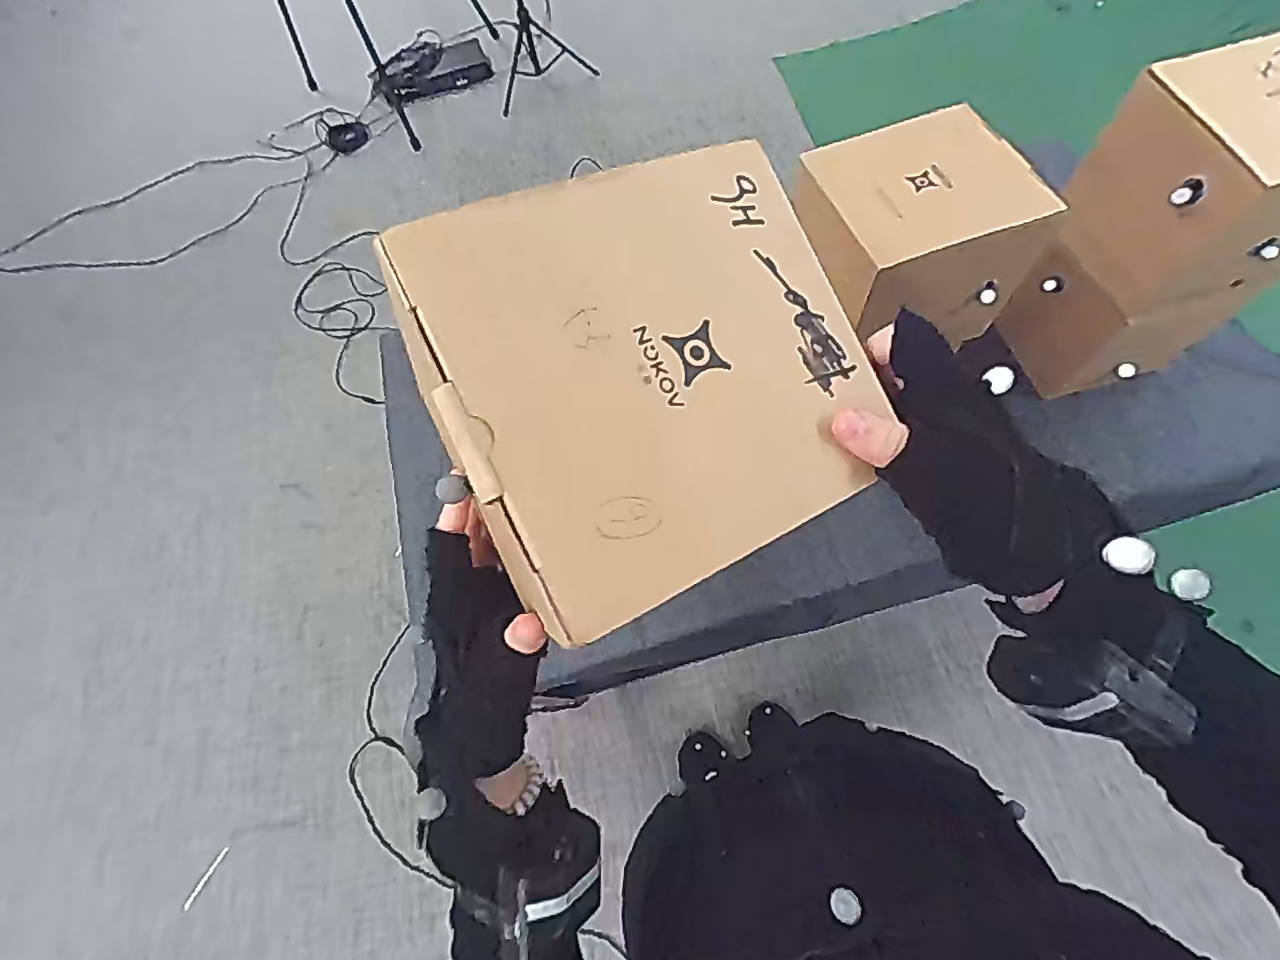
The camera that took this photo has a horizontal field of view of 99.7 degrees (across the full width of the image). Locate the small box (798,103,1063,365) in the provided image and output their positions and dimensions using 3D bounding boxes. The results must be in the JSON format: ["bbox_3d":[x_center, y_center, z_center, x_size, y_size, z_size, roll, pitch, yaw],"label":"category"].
[{"bbox_3d":[0.270,-0.242,0.568,0.179,0.176,0.168,-18,65,0],"label":"small box"}]

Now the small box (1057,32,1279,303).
[{"bbox_3d":[0.585,-0.305,0.555,0.168,0.176,0.179,-13,65,1],"label":"small box"}]

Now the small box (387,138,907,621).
[{"bbox_3d":[-0.006,-0.039,0.299,0.179,0.176,0.168,-24,87,-17],"label":"small box"}]
